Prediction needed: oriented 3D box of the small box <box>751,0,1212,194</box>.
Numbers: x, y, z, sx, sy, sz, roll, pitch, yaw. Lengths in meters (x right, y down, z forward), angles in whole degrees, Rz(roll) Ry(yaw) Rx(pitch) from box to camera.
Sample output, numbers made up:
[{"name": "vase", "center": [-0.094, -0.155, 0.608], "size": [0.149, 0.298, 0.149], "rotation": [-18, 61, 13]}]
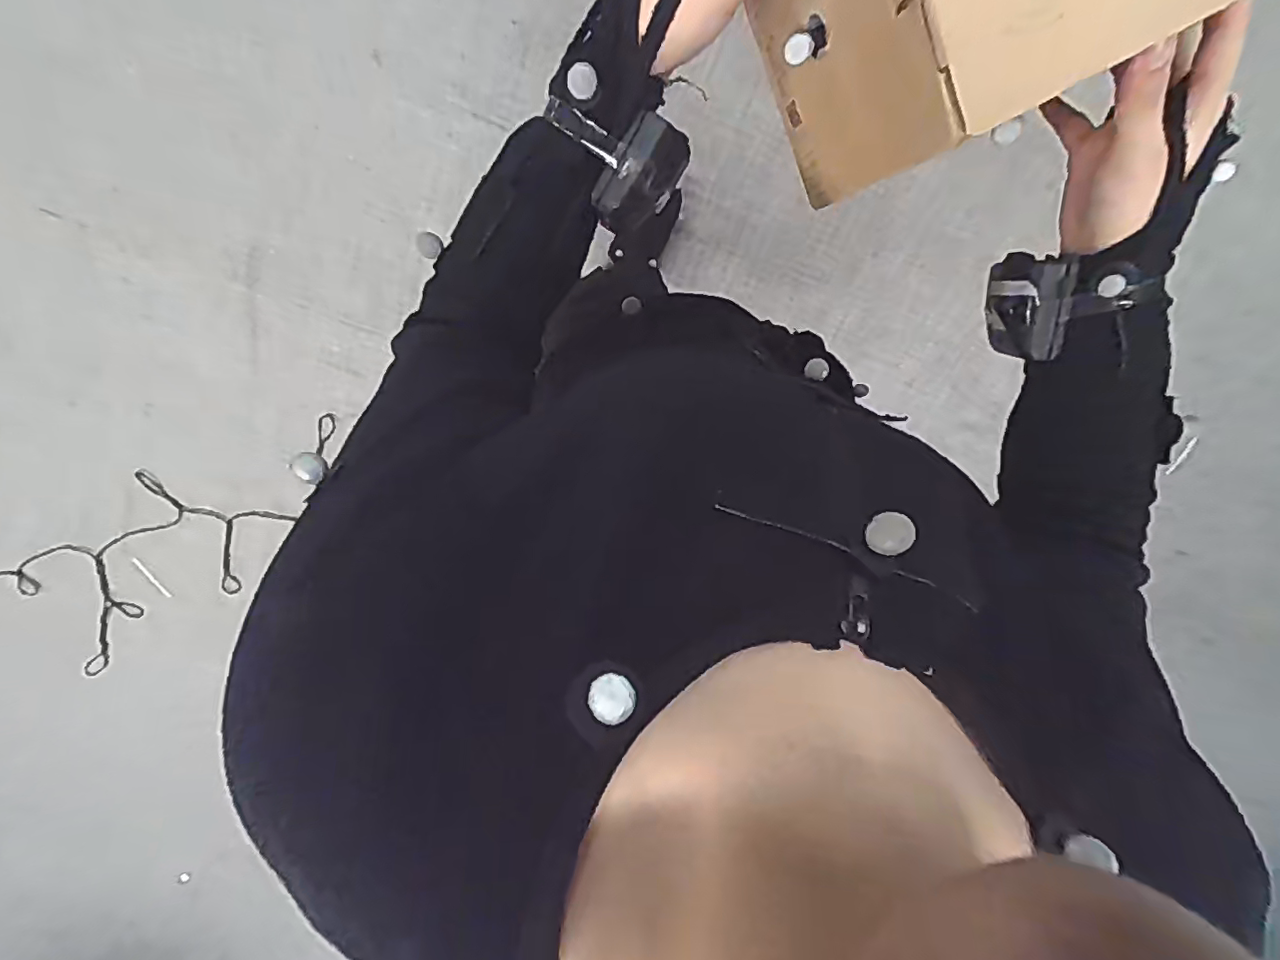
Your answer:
[{"name": "small box", "center": [0.169, -0.280, 0.285], "size": [0.179, 0.176, 0.168], "rotation": [-26, 108, 5]}]
